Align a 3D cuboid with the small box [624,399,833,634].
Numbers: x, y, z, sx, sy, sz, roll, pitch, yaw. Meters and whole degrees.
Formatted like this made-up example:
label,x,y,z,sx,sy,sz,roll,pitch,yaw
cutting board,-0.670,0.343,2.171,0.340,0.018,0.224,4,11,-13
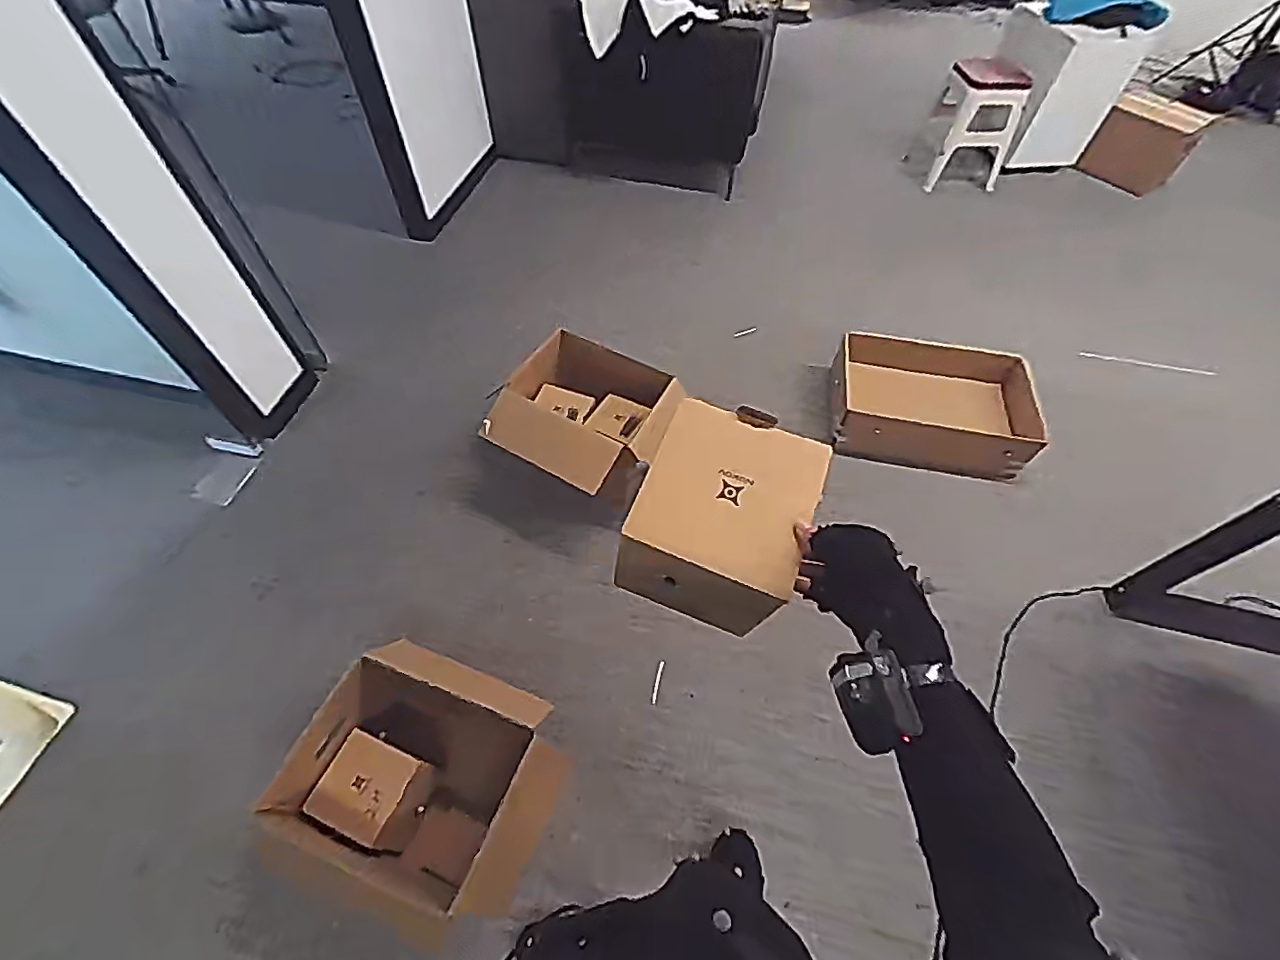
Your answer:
label,x,y,z,sx,sy,sz,roll,pitch,yaw
small box,0.087,0.049,0.598,0.168,0.176,0.179,22,61,6
